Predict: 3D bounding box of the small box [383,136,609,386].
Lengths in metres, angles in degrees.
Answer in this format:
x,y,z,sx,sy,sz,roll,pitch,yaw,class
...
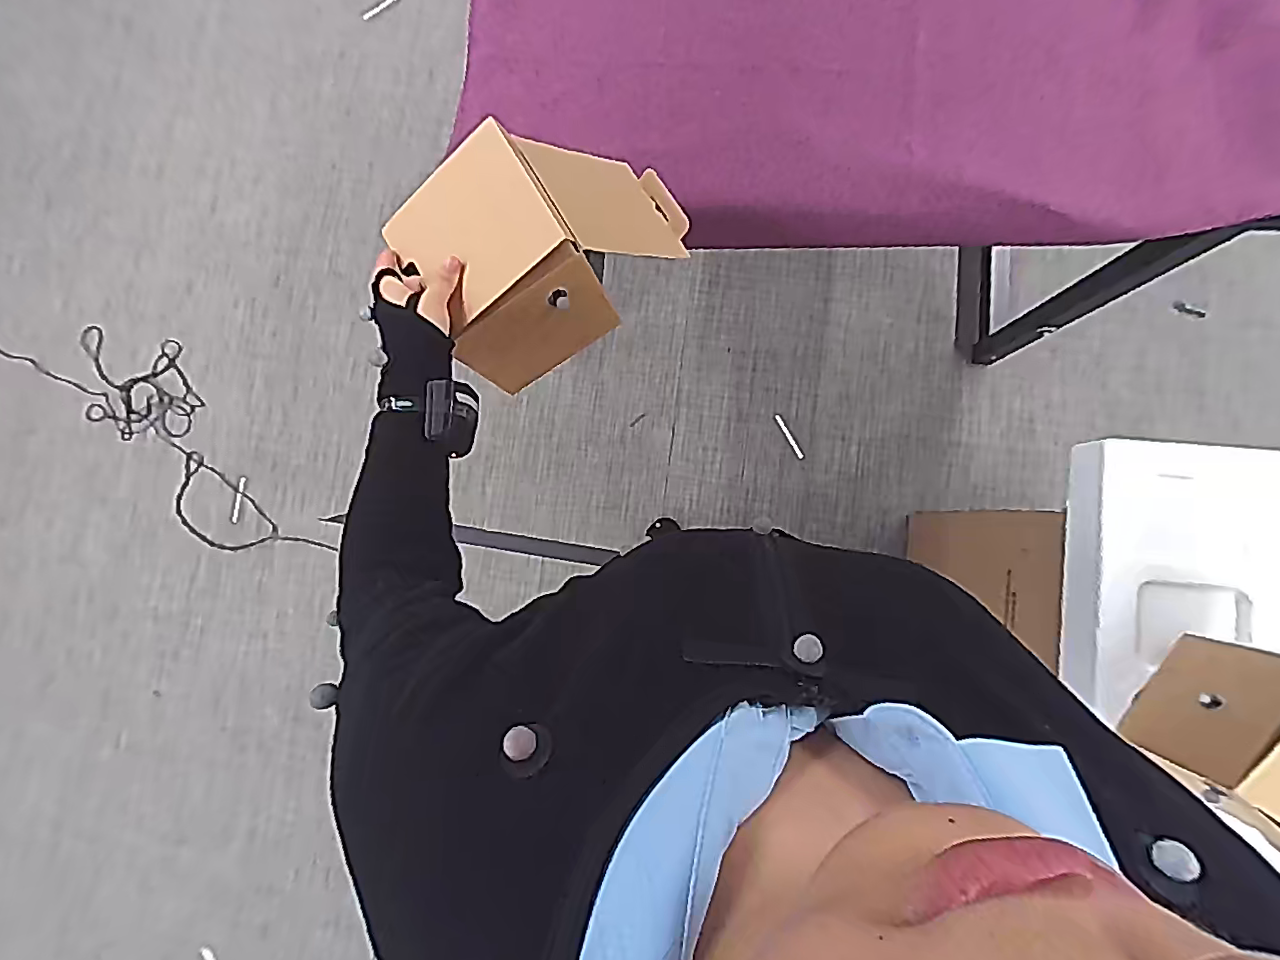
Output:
x,y,z,sx,sy,sz,roll,pitch,yaw,class
-0.151,-0.240,0.635,0.179,0.176,0.168,-32,76,6,small box
